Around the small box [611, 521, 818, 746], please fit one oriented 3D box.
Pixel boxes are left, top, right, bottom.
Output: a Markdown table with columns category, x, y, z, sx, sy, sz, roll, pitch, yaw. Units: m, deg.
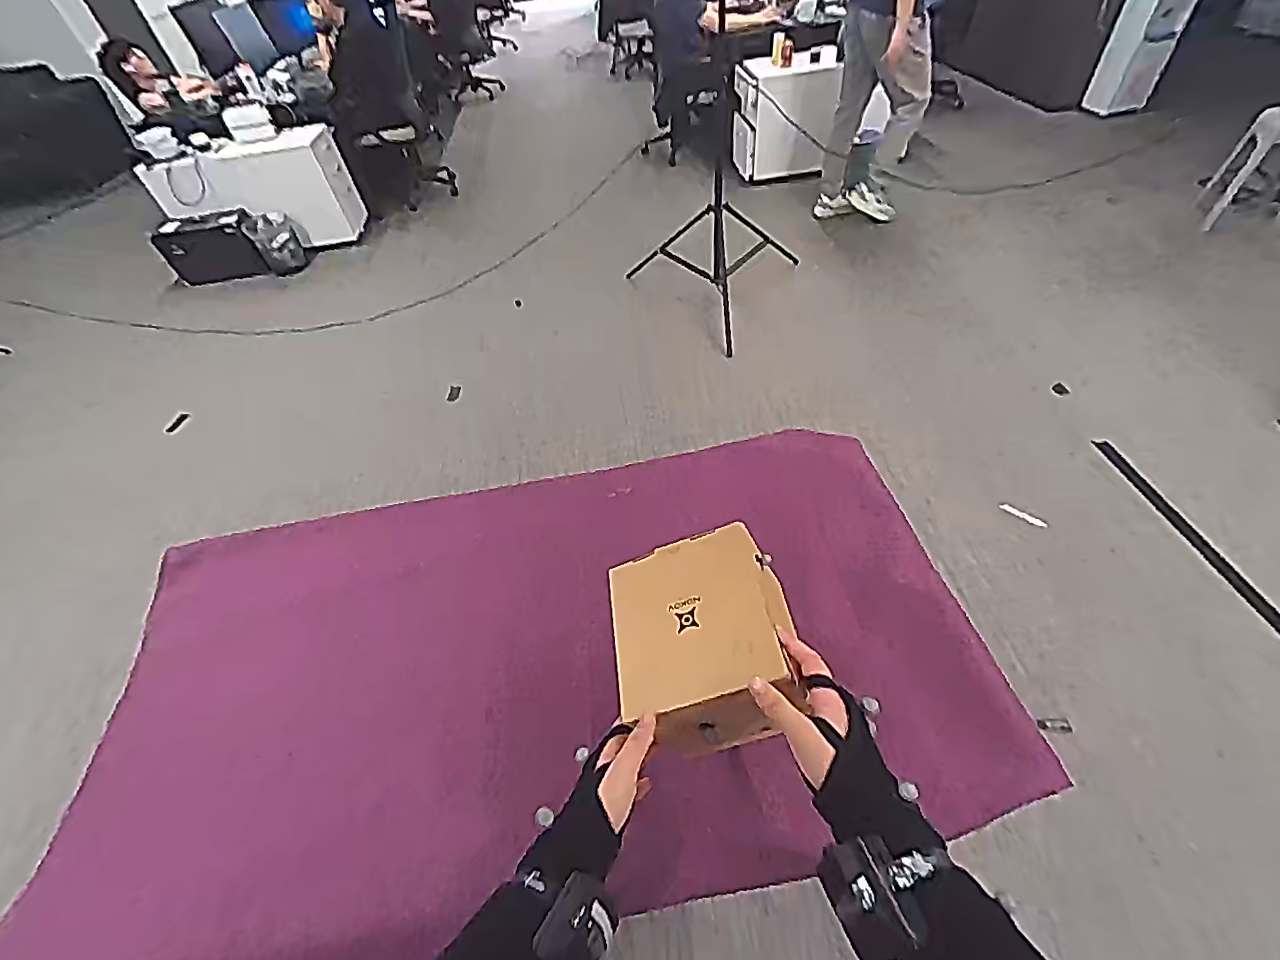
| category | x | y | z | sx | sy | sz | roll | pitch | yaw |
| --- | --- | --- | --- | --- | --- | --- | --- | --- | --- |
| small box | 0.083 | 0.181 | 0.601 | 0.168 | 0.176 | 0.179 | -21 | 47 | 14 |

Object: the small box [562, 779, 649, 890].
| category | x | y | z | sx | sy | sz | roll | pitch | yaw |
| --- | --- | --- | --- | --- | --- | --- | --- | --- | --- |
| small box | -0.074 | 0.778 | 1.180 | 0.168 | 0.176 | 0.179 | -8 | 48 | 0 |
